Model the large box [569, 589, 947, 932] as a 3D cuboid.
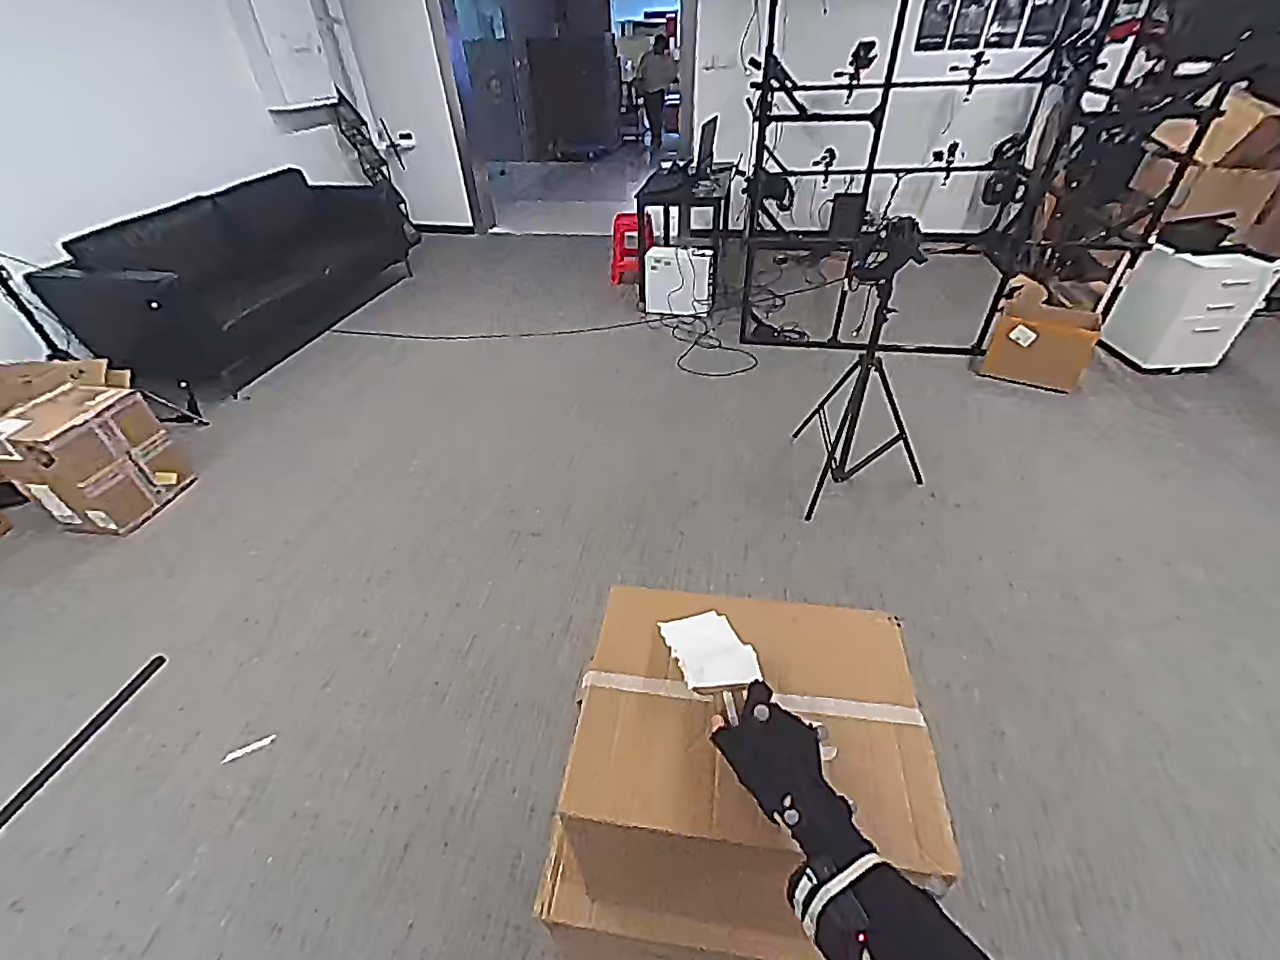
[{"bbox_3d":[0.138,0.388,0.775,0.408,0.320,0.320,4,40,7],"label":"large box"}]
